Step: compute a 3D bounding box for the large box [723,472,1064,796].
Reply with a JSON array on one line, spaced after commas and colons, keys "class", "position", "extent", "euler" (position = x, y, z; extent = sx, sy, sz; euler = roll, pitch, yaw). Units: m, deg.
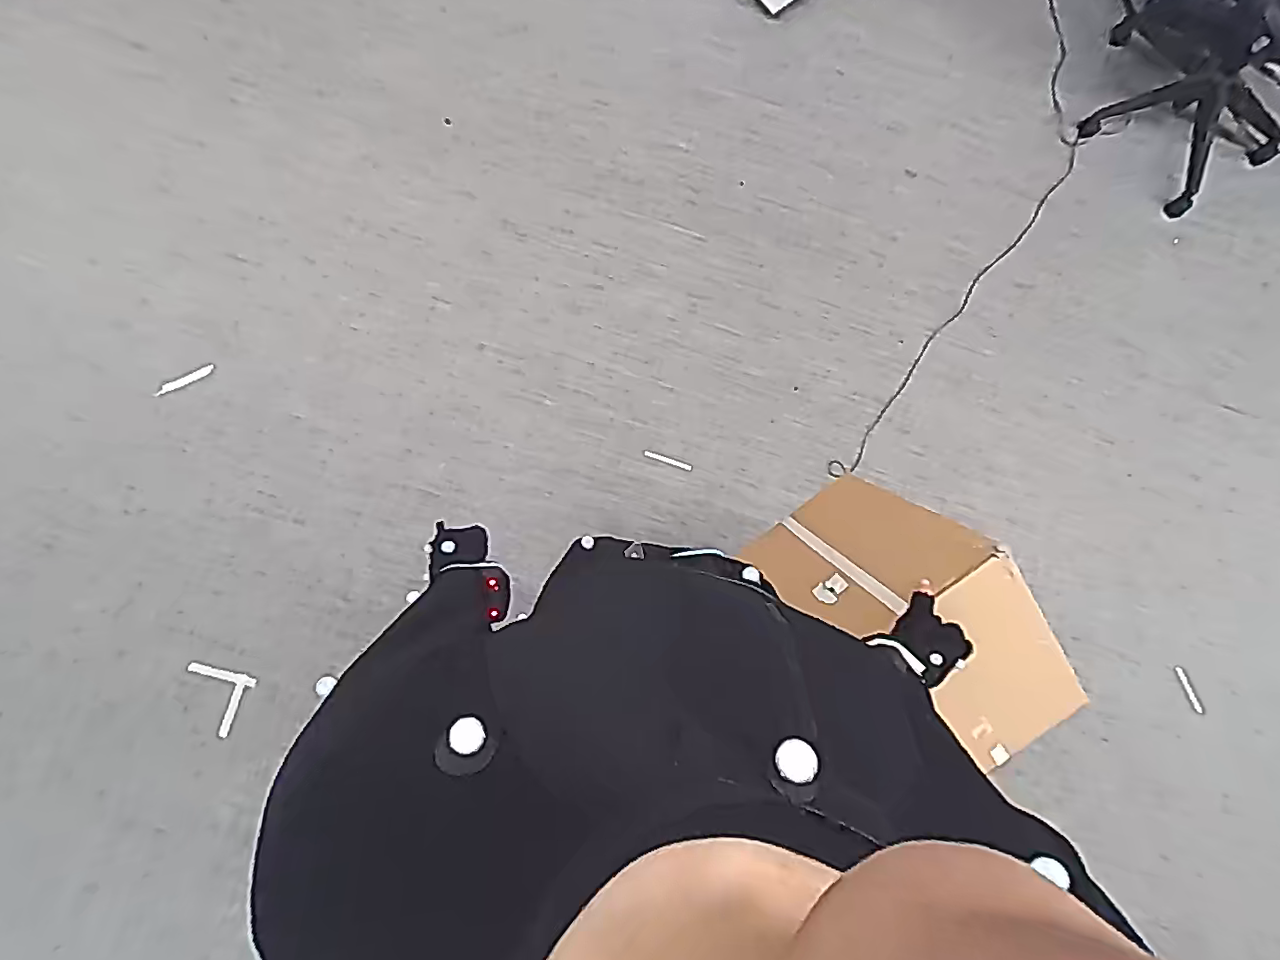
[{"class": "large box", "position": [0.409, 0.236, 0.960], "extent": [0.320, 0.408, 0.320], "euler": [-38, 109, 2]}]
